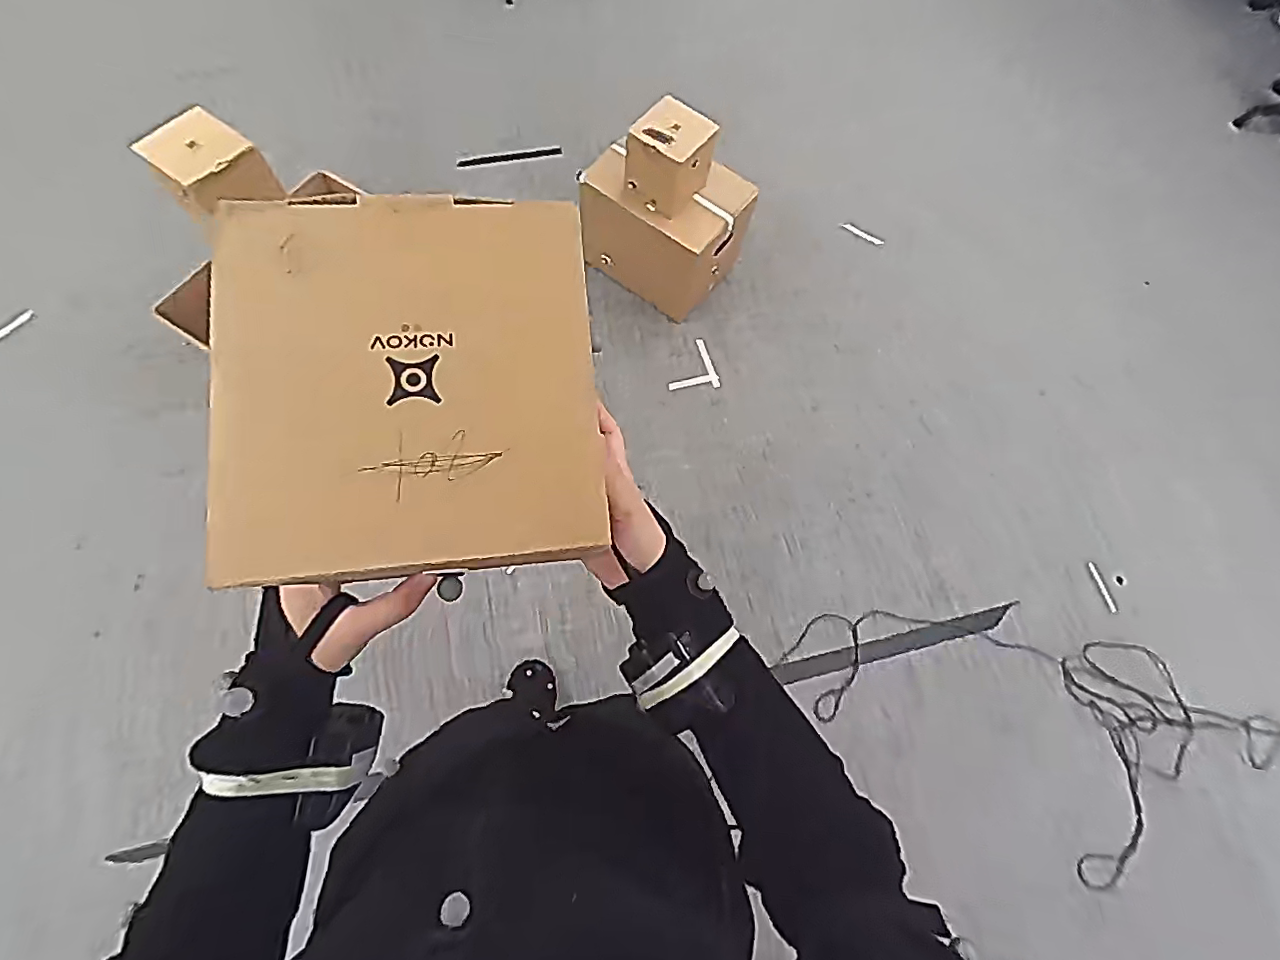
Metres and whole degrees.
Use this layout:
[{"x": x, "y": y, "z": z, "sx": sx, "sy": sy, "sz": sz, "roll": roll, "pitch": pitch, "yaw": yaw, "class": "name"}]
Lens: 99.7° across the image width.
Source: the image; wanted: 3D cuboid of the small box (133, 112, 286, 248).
[{"x": -0.926, "y": -0.650, "z": 1.188, "sx": 0.179, "sy": 0.176, "sz": 0.168, "roll": 34, "pitch": 70, "yaw": 8, "class": "small box"}]

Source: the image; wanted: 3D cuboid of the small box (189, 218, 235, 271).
[{"x": -0.935, "y": -0.584, "z": 1.337, "sx": 0.179, "sy": 0.176, "sz": 0.168, "roll": 35, "pitch": 70, "yaw": 8, "class": "small box"}]

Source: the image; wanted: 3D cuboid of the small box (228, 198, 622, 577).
[{"x": -0.109, "y": -0.037, "z": 0.326, "sx": 0.168, "sy": 0.176, "sz": 0.179, "roll": -5, "pitch": 81, "yaw": -9, "class": "small box"}]

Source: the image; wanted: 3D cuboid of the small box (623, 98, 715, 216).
[{"x": 0.069, "y": -0.831, "z": 1.406, "sx": 0.168, "sy": 0.176, "sz": 0.179, "roll": 36, "pitch": 71, "yaw": 7, "class": "small box"}]
